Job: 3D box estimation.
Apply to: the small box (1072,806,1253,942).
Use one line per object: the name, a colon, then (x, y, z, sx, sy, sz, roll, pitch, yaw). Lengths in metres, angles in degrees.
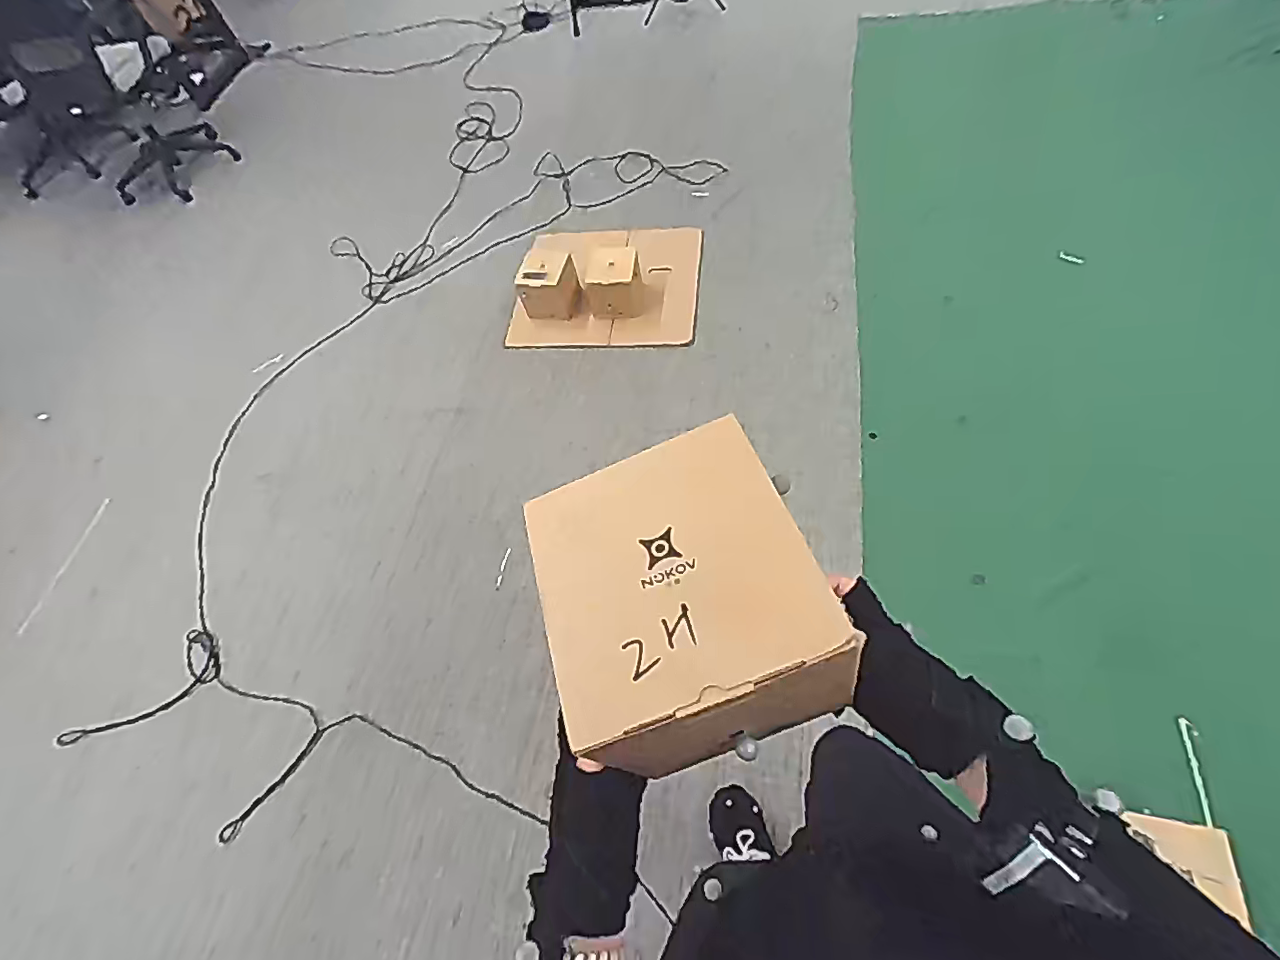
small box: (0.954, 0.723, 1.014, 0.179, 0.176, 0.168, 6, 63, 11)

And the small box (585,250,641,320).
small box: (-0.091, -0.702, 1.950, 0.168, 0.176, 0.179, 1, 63, 9)

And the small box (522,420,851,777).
small box: (0.035, 0.095, 0.398, 0.168, 0.176, 0.179, -24, 54, 5)
